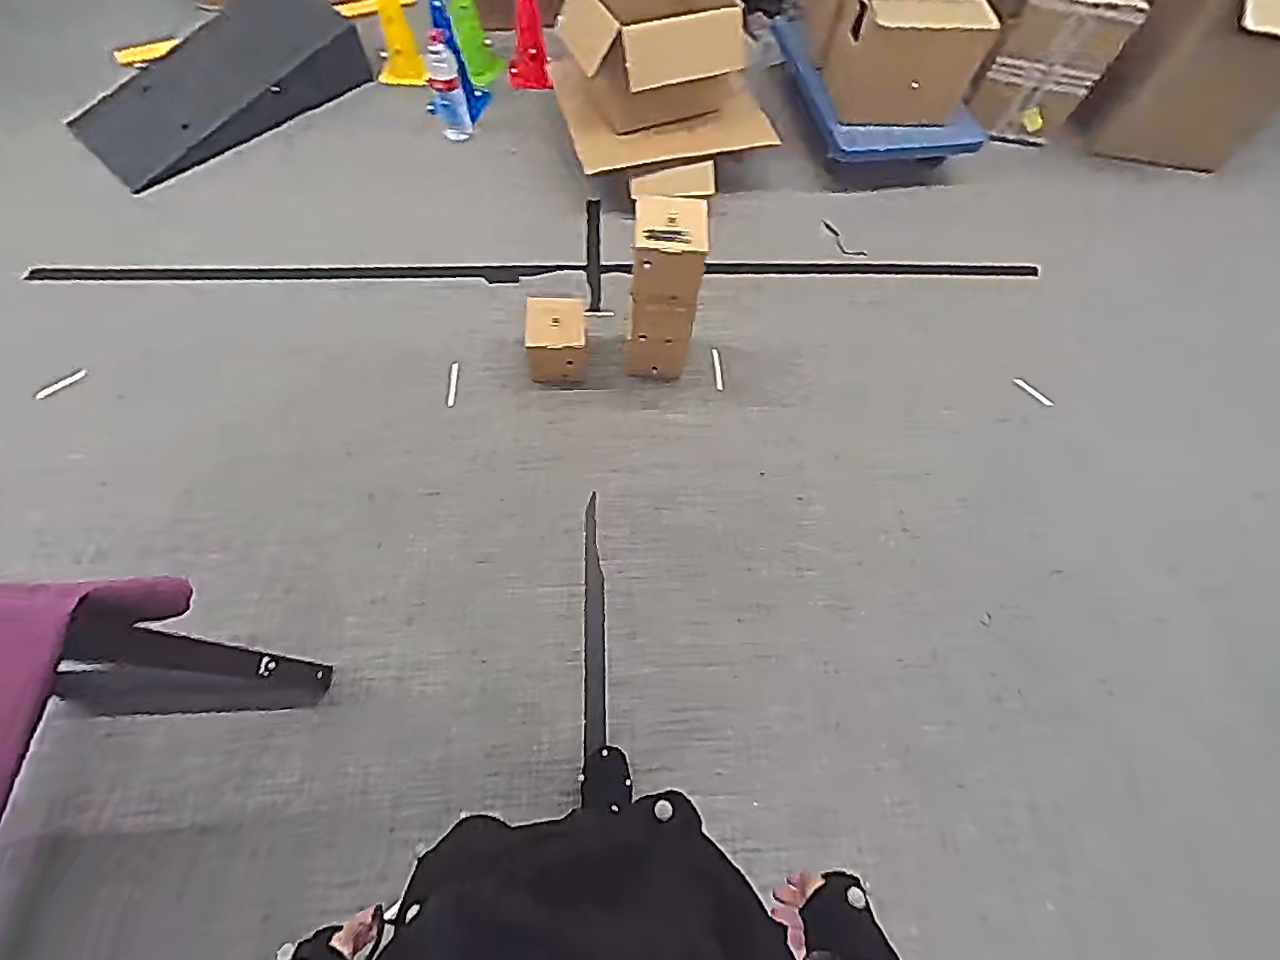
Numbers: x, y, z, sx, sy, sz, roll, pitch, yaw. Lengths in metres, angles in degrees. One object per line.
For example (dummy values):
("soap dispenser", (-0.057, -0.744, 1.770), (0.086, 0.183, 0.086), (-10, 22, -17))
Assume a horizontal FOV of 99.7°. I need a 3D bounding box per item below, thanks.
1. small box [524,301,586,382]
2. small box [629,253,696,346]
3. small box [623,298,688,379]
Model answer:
("small box", (-0.245, -0.401, 1.584), (0.168, 0.176, 0.179), (-2, 65, -6))
("small box", (0.059, -0.481, 1.460), (0.168, 0.176, 0.179), (2, 65, -3))
("small box", (0.045, -0.418, 1.612), (0.179, 0.176, 0.168), (3, 66, -3))
